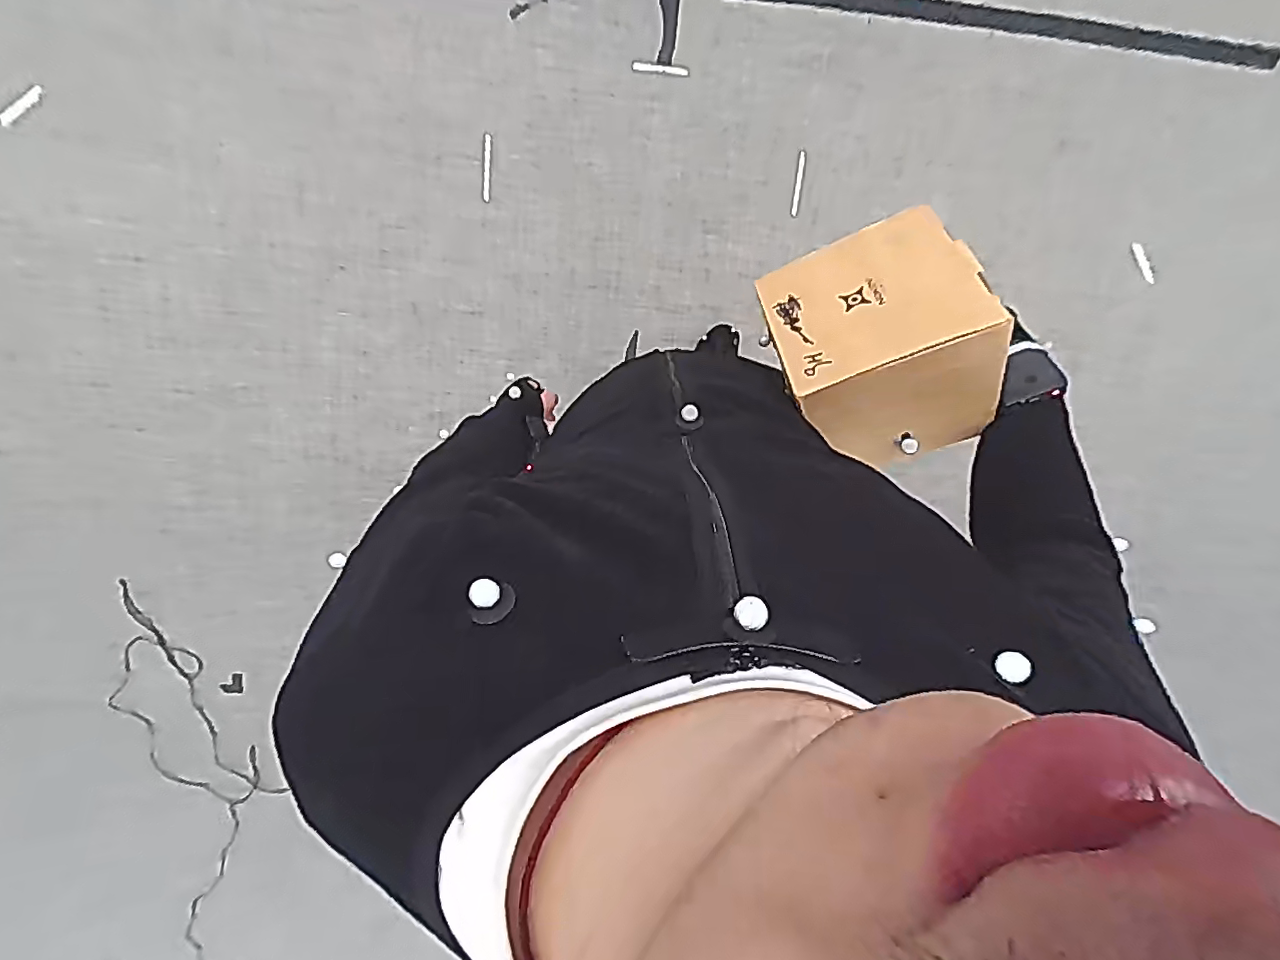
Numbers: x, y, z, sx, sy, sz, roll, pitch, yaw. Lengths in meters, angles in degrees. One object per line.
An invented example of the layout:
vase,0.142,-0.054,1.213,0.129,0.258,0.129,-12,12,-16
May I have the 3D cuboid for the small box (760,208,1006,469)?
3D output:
small box,0.246,-0.137,0.573,0.179,0.168,0.176,-19,145,16
